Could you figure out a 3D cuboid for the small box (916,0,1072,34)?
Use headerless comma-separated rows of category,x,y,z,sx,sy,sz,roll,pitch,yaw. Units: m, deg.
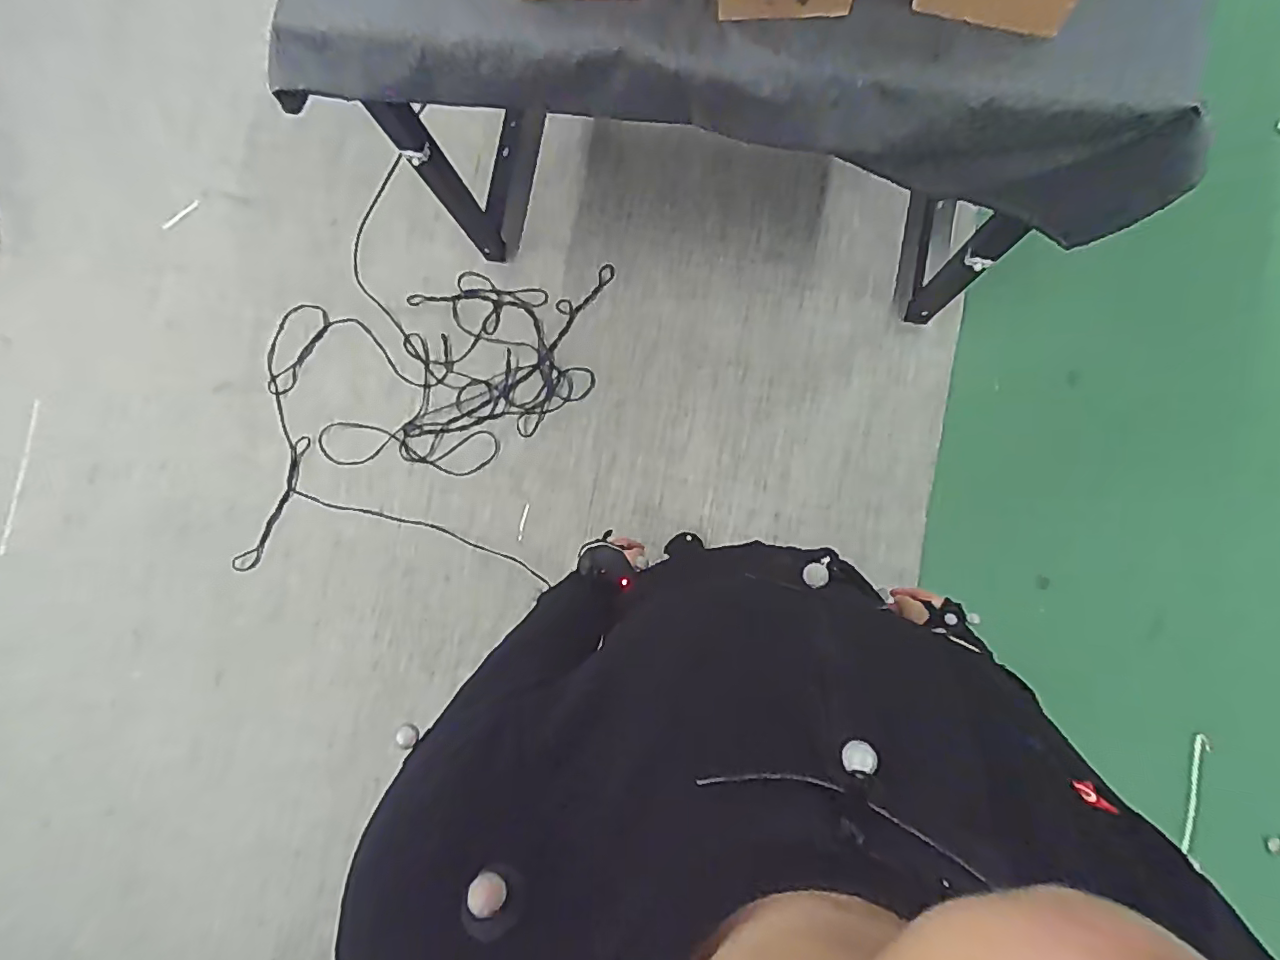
small box,0.437,-0.646,0.595,0.179,0.176,0.168,18,86,7

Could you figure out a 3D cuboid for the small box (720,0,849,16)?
small box,0.180,-0.684,0.624,0.168,0.176,0.179,3,84,5
